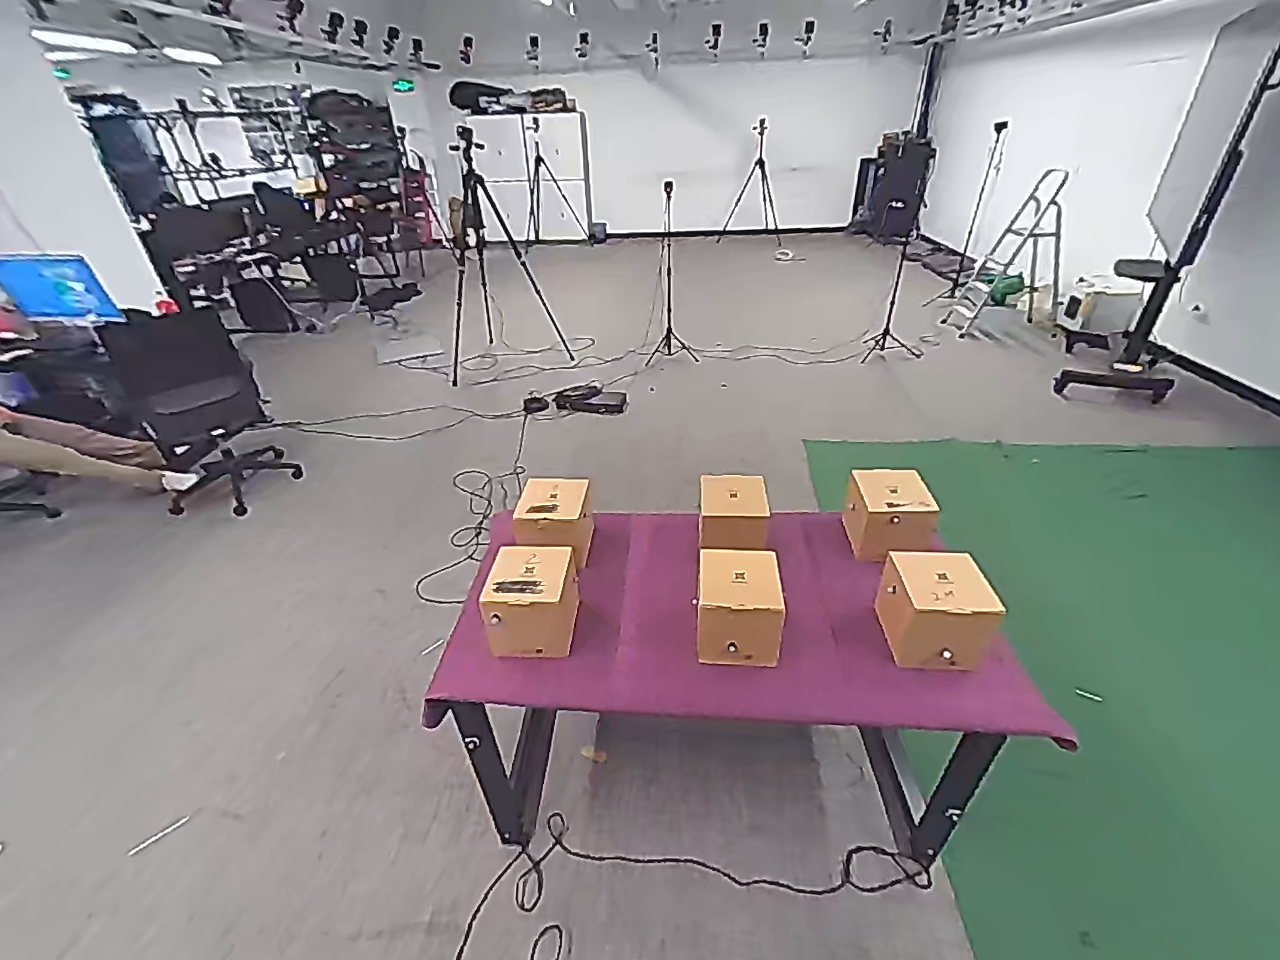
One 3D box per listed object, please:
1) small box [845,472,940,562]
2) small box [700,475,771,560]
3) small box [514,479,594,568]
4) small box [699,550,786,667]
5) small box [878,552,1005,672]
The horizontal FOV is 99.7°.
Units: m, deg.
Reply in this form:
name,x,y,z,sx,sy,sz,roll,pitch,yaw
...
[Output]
name,x,y,z,sx,sy,sz,roll,pitch,yaw
small box,0.640,0.094,1.395,0.168,0.176,0.179,-1,35,6
small box,0.242,0.105,1.410,0.168,0.176,0.179,1,35,6
small box,-0.216,0.113,1.419,0.168,0.176,0.179,1,34,5
small box,0.212,0.272,1.161,0.168,0.176,0.179,2,33,5
small box,0.614,0.271,1.129,0.168,0.176,0.179,1,32,7
